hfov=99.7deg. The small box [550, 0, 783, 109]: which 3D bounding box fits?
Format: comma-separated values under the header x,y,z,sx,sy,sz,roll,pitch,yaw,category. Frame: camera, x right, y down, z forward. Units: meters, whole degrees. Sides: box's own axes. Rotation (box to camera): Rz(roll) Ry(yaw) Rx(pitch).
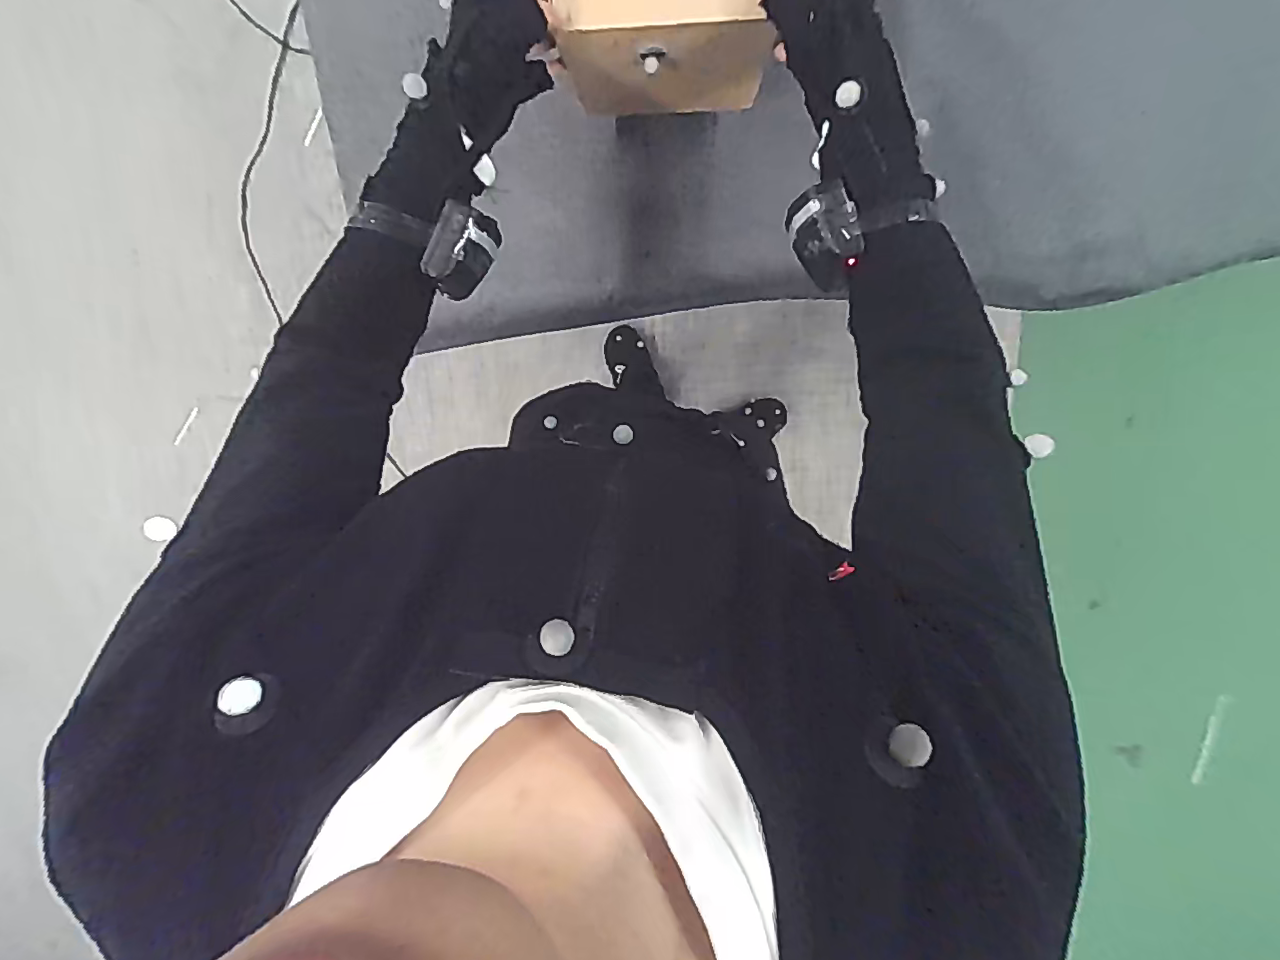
x,y,z,sx,sy,sz,roll,pitch,yaw,category
0.022,-0.441,0.462,0.179,0.176,0.168,-1,106,3,small box
